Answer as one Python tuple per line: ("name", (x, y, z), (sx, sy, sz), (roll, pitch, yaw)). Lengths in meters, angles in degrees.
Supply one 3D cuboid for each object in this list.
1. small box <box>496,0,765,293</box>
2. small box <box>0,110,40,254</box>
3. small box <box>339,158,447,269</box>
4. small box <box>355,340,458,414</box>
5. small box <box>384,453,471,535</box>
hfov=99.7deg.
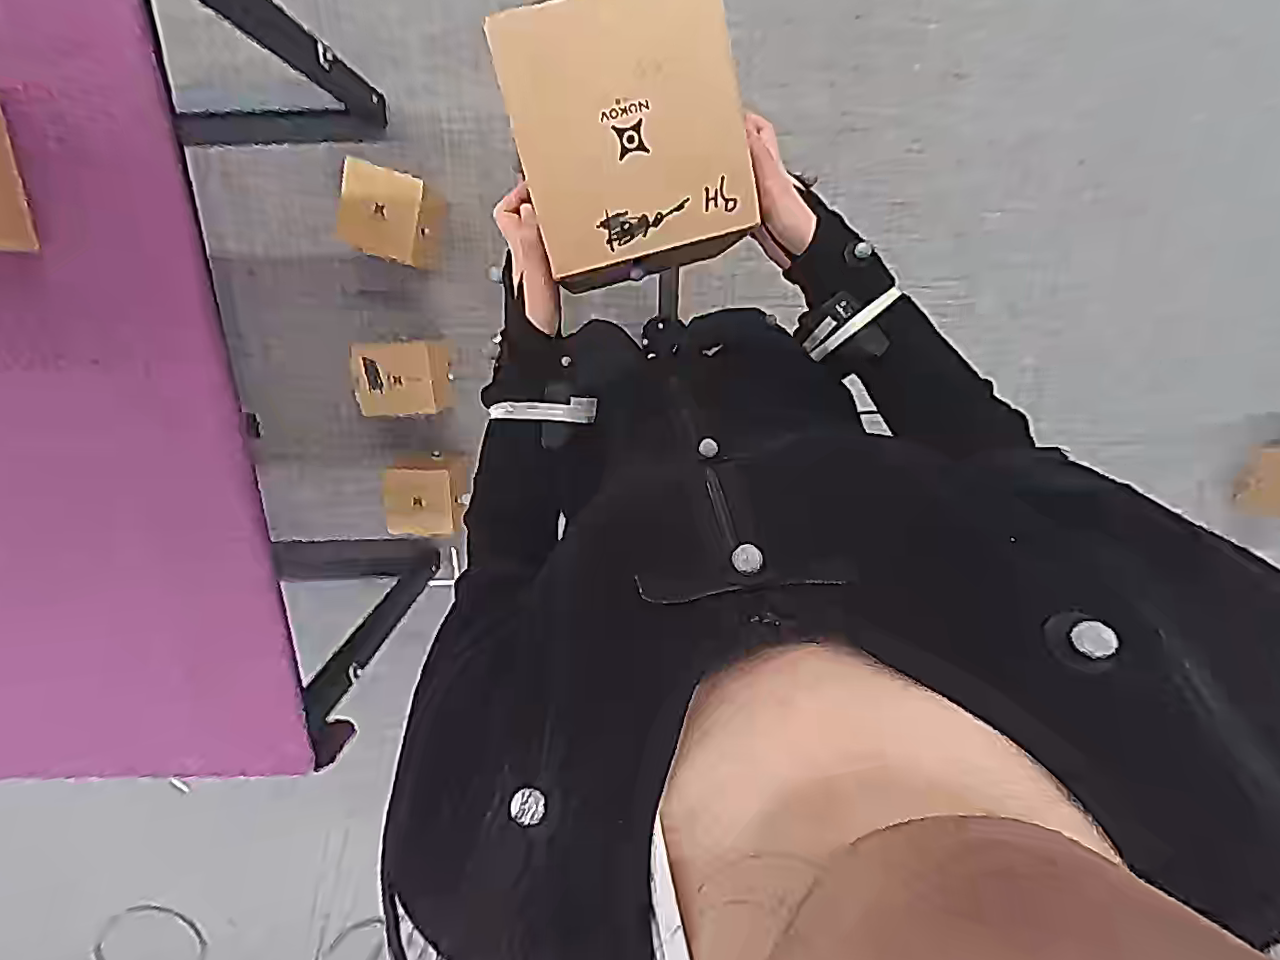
("small box", (-0.007, -0.273, 0.464), (0.168, 0.176, 0.179), (-13, 105, 1))
("small box", (-0.797, -0.336, 0.550), (0.168, 0.176, 0.179), (1, 108, 0))
("small box", (-0.557, -0.598, 1.238), (0.168, 0.176, 0.179), (16, 108, -6))
("small box", (-0.571, -0.258, 1.341), (0.179, 0.176, 0.168), (-2, 107, -1))
("small box", (-0.553, 0.034, 1.433), (0.168, 0.176, 0.179), (0, 106, -2))
